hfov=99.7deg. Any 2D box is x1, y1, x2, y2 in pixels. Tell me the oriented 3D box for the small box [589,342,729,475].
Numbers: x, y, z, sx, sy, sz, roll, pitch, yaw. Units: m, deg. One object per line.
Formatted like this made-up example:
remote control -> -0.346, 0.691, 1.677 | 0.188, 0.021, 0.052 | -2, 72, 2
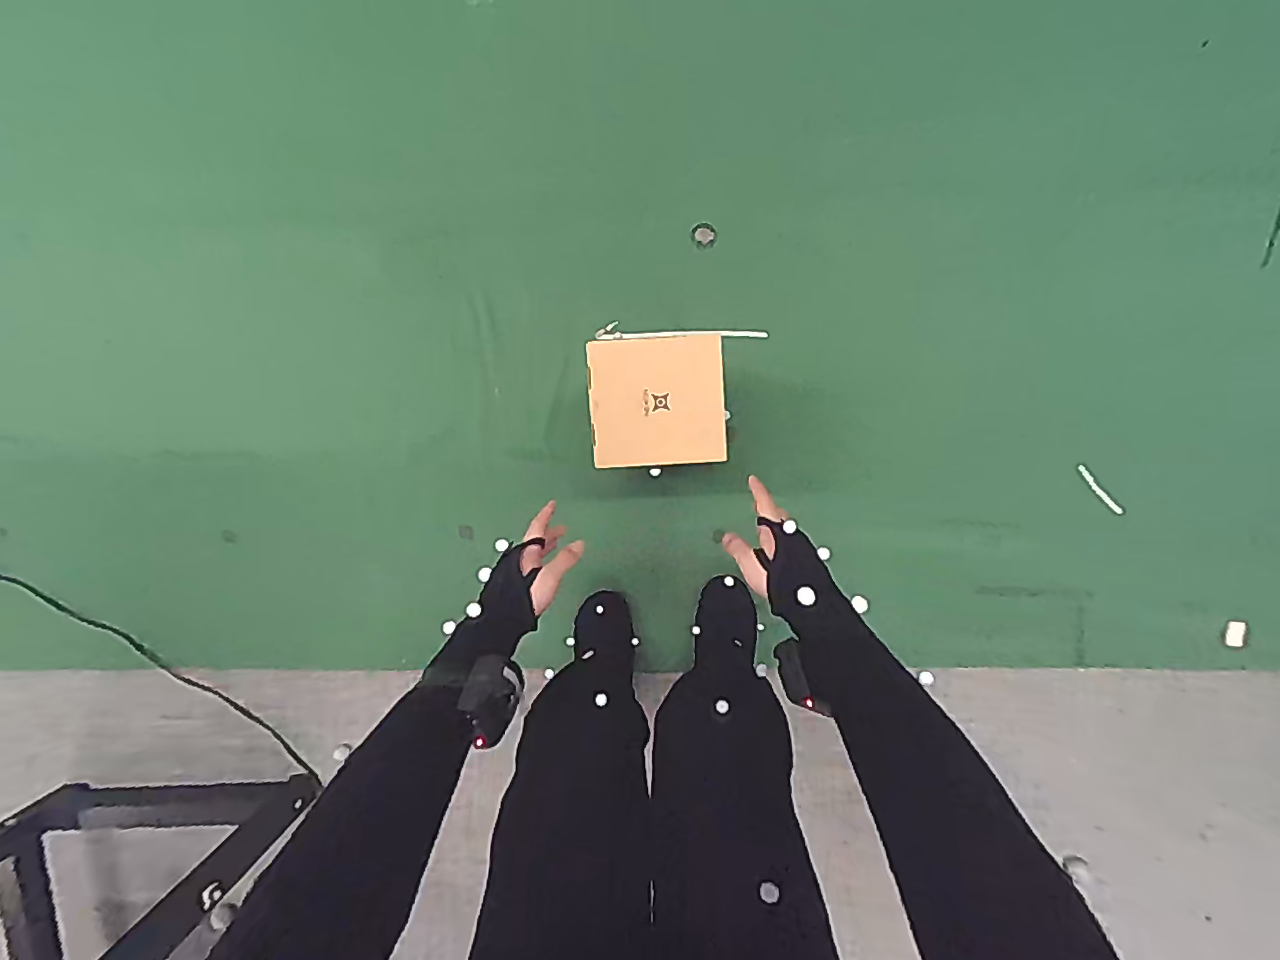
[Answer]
small box -> 0.029, -0.100, 0.779 | 0.179, 0.176, 0.168 | -4, 95, 4
